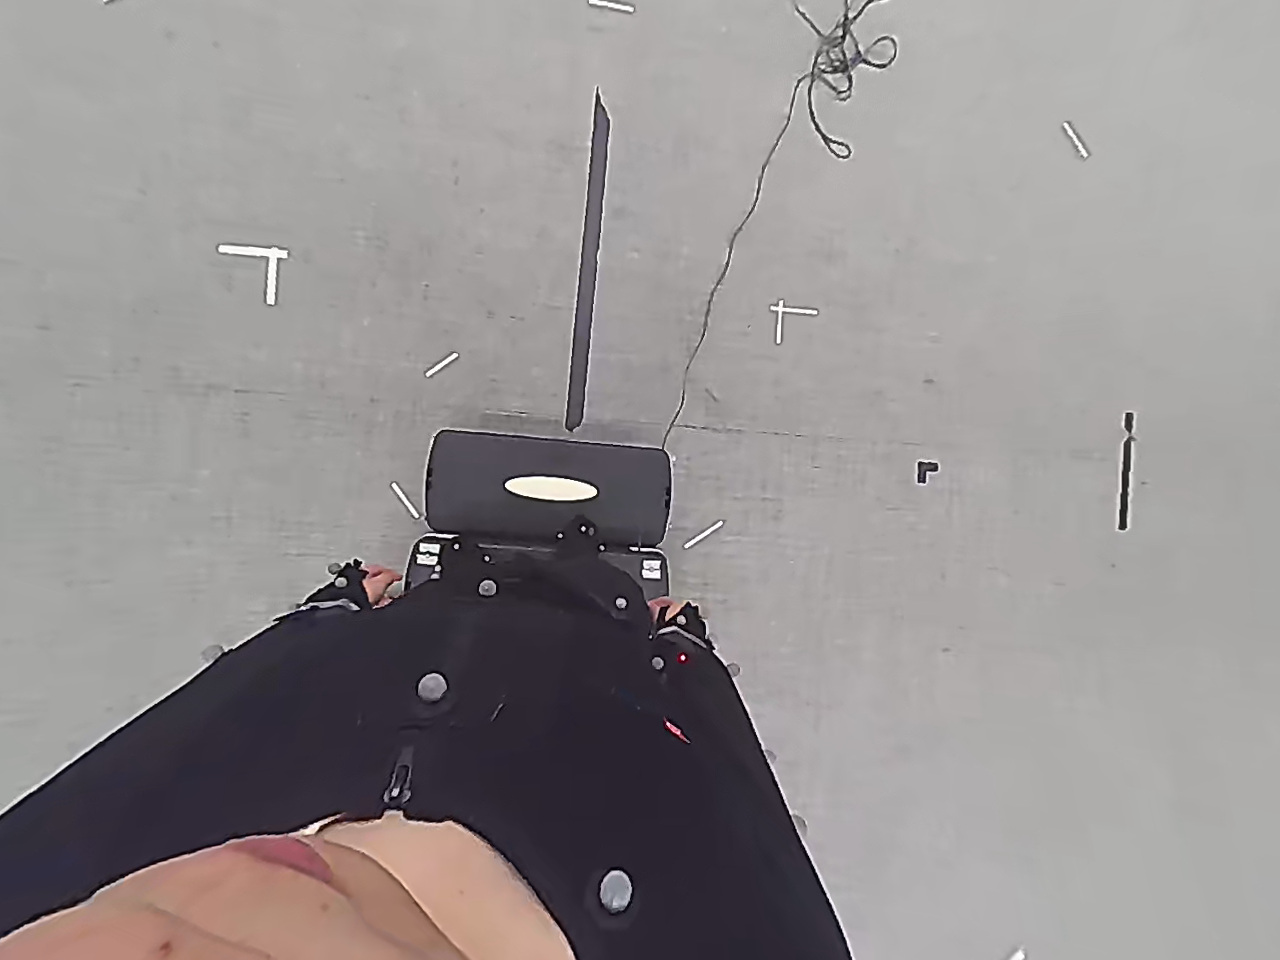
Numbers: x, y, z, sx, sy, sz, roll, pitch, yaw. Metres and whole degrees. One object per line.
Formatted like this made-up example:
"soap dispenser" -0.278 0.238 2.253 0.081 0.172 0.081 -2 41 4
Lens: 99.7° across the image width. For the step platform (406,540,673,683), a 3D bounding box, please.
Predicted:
"step platform" -0.253 0.349 1.449 0.684 0.204 0.286 9 85 -5
